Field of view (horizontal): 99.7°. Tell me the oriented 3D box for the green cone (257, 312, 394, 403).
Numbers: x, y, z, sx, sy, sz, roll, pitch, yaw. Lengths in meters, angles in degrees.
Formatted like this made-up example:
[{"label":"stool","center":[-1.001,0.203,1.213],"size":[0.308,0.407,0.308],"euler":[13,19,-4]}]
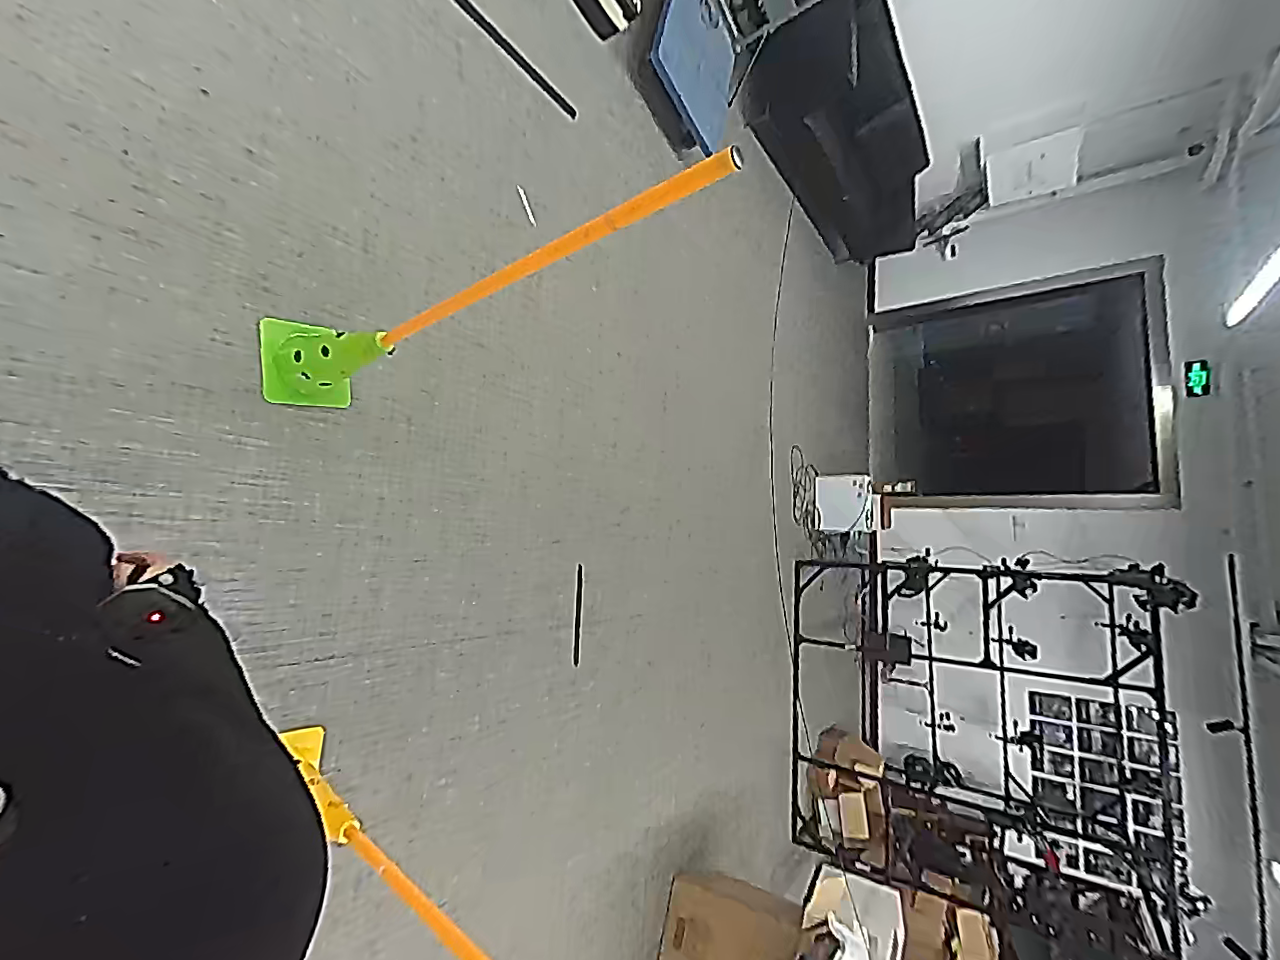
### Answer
[{"label":"green cone","center":[-0.675,-0.293,1.217],"size":[0.200,0.368,0.202],"euler":[-5,94,-54]}]
